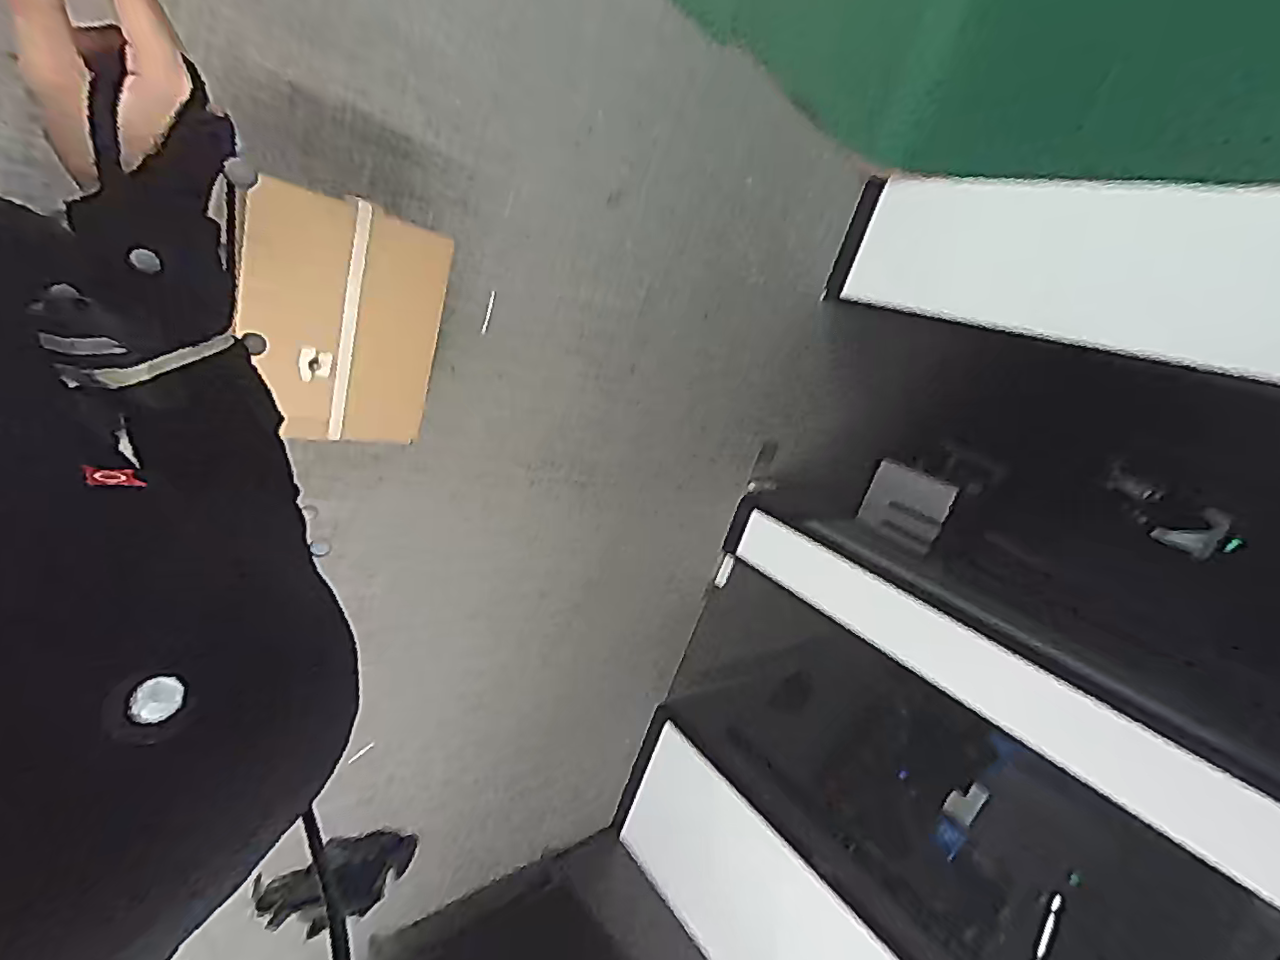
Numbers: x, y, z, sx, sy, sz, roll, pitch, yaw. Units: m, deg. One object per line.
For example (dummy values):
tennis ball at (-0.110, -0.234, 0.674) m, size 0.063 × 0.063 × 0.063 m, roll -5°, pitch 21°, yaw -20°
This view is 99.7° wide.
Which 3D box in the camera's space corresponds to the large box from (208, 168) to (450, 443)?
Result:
large box at (-0.605, -0.320, 1.033) m, size 0.320 × 0.320 × 0.408 m, roll 2°, pitch 113°, yaw -44°
